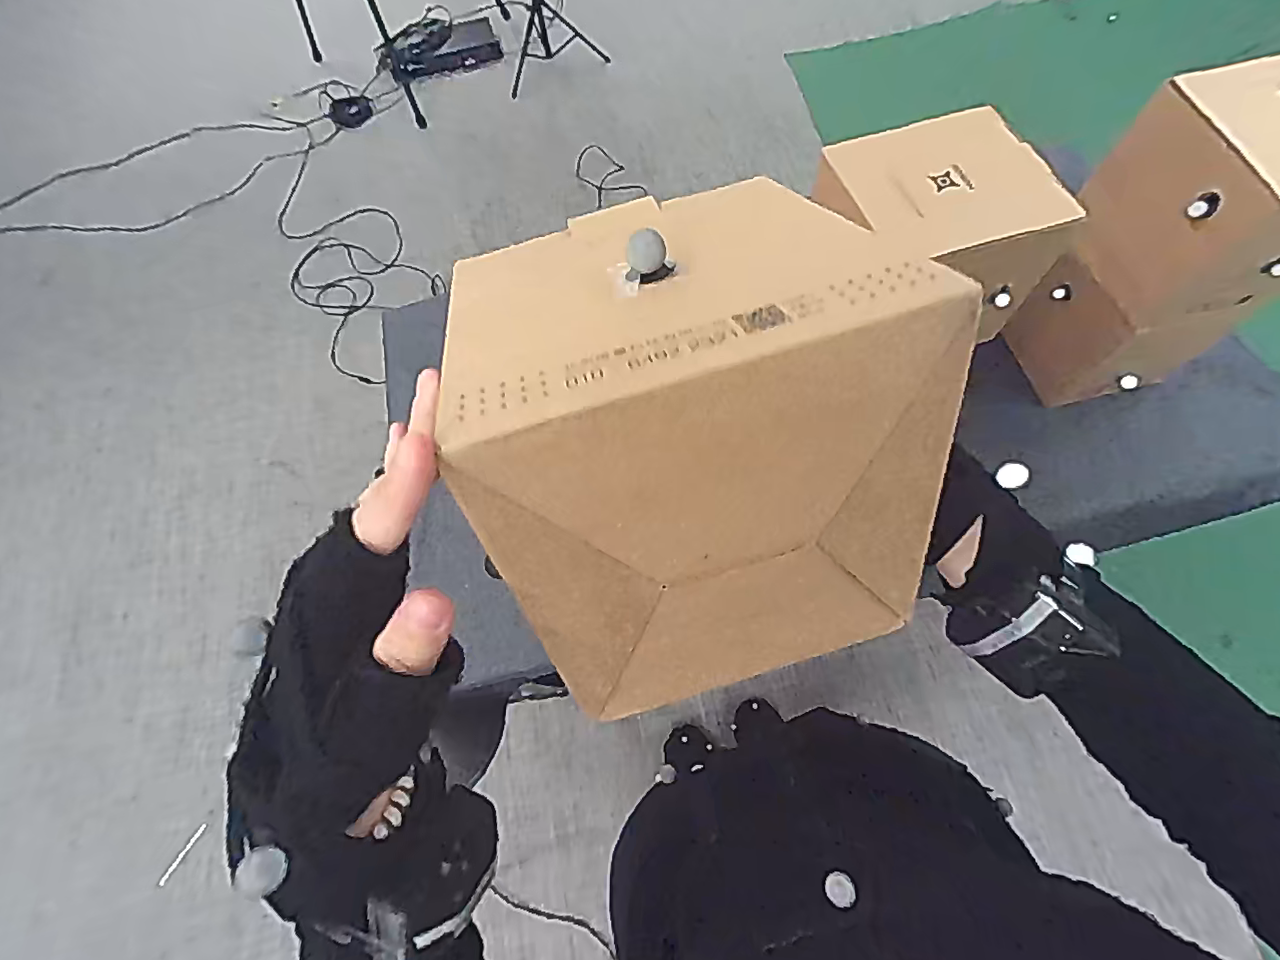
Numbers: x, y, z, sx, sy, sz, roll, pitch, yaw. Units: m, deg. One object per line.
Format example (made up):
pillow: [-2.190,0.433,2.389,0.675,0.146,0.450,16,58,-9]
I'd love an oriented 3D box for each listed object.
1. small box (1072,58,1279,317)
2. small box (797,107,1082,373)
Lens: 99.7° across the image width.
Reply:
small box: [0.604,-0.290,0.560,0.168,0.176,0.179,-11,66,0]
small box: [0.287,-0.240,0.568,0.179,0.176,0.168,-15,65,-1]
